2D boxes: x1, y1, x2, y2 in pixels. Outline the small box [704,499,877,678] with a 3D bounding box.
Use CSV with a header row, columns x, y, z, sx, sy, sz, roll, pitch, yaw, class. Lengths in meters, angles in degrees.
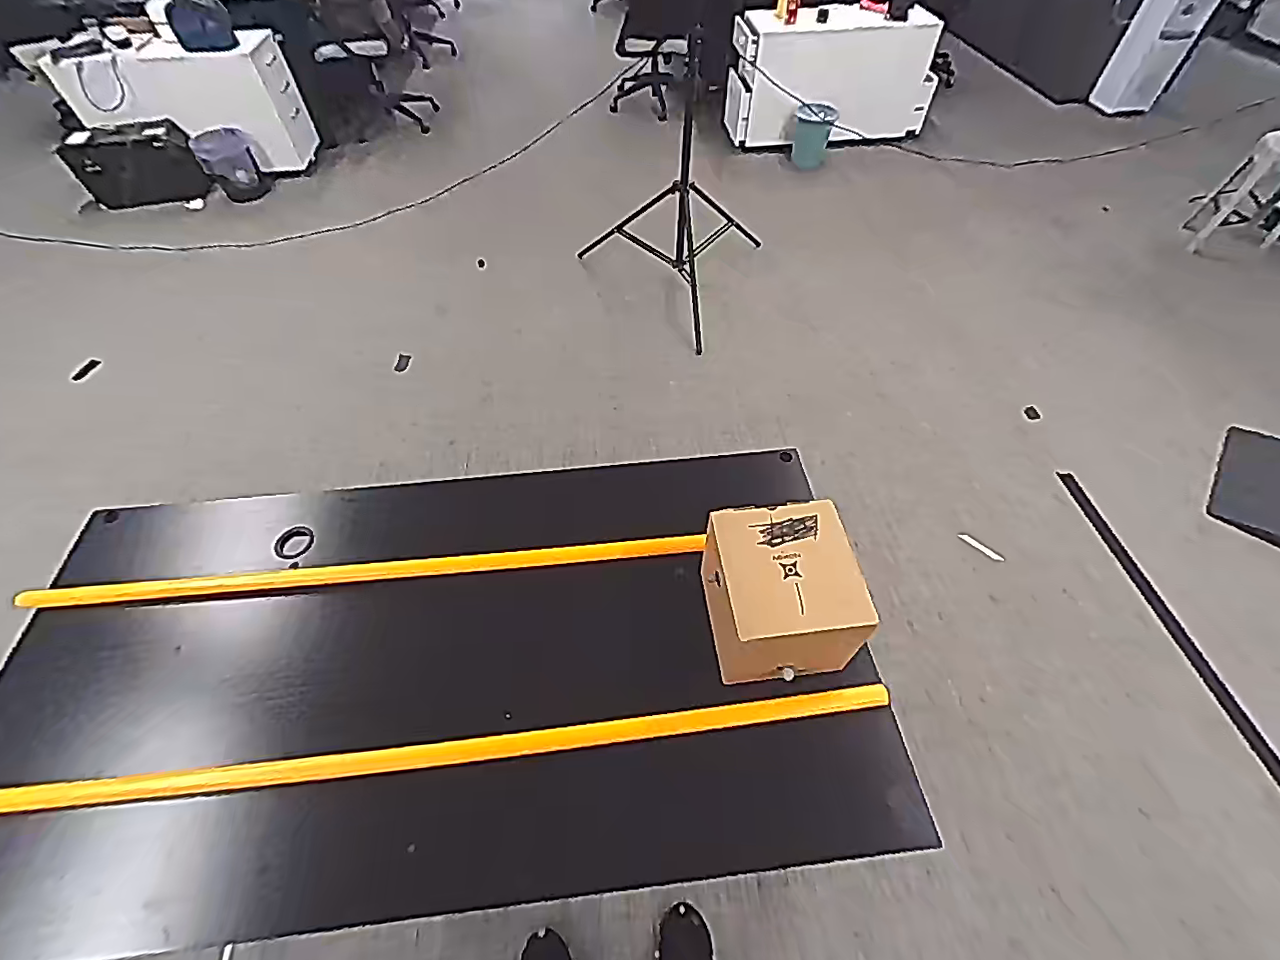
x,y,z,sx,sy,sz,roll,pitch,yaw,class
0.185,0.148,0.730,0.168,0.176,0.179,-6,54,-3,small box
